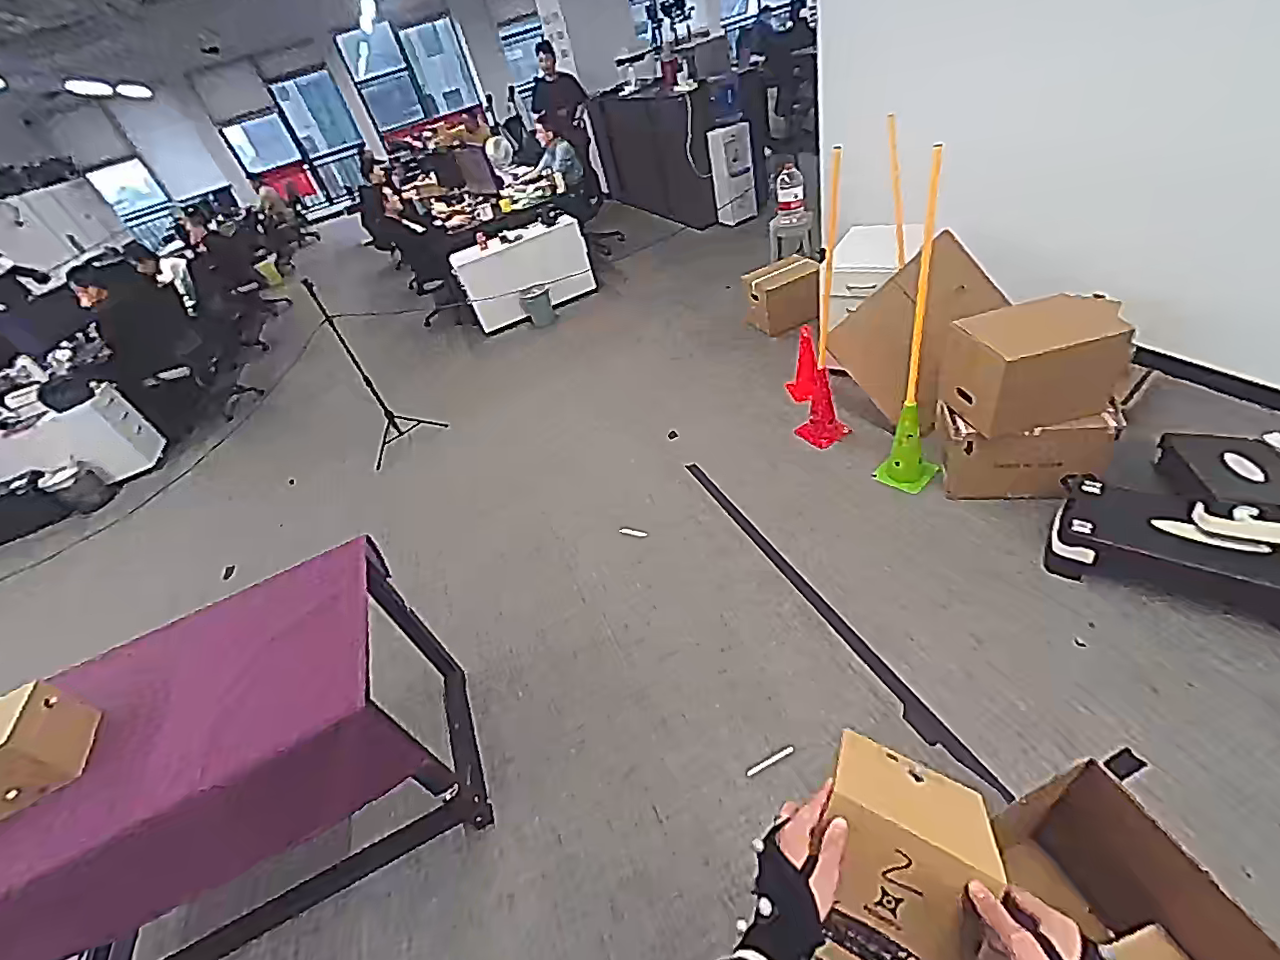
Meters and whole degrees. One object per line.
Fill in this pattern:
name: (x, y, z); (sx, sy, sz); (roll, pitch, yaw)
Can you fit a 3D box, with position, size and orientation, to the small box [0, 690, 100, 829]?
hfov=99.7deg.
small box: (-1.334, 0.601, 1.164); (0.168, 0.176, 0.179); (-29, 40, -13)
